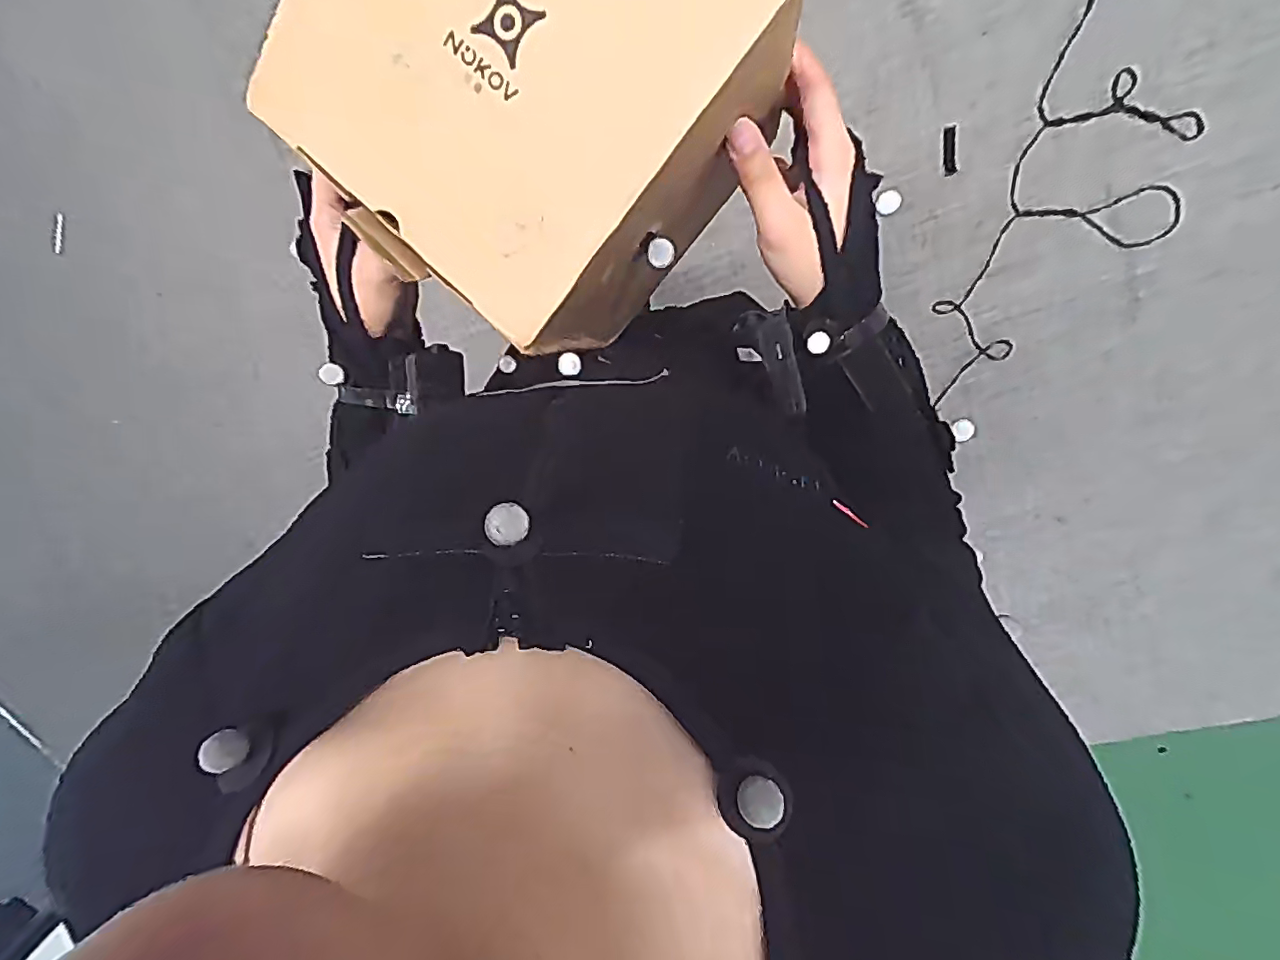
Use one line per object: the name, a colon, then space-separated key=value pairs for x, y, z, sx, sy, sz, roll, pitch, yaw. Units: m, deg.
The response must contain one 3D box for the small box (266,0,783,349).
small box: x=-0.043 y=-0.193 z=0.298 sx=0.168 sy=0.176 sz=0.179 roll=42 pitch=108 yaw=-2
